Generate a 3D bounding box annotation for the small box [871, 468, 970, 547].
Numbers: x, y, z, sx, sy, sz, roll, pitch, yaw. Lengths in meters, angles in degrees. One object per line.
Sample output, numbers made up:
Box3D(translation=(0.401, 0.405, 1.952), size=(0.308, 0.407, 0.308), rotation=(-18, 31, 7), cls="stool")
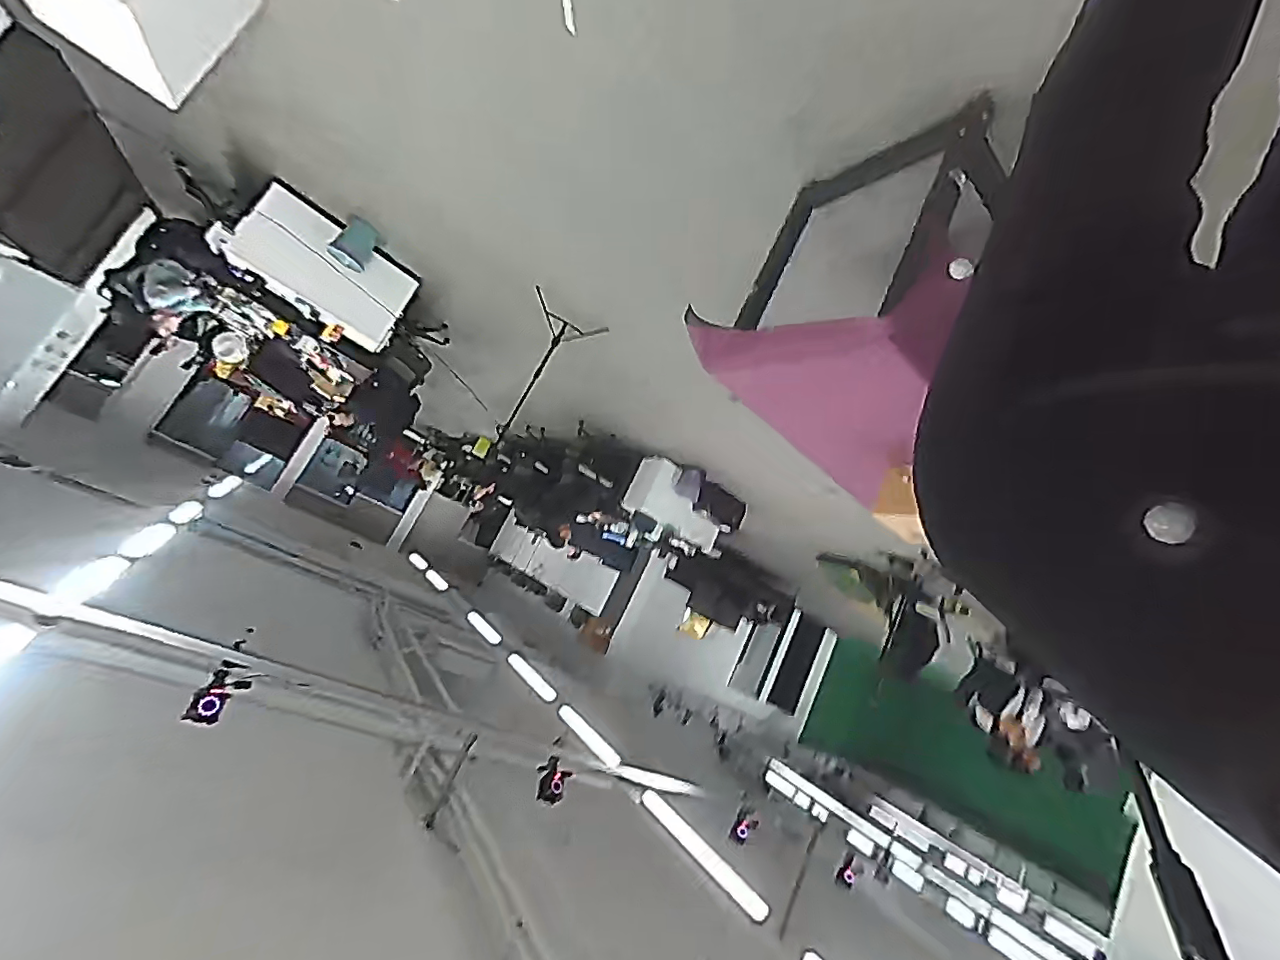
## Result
Box3D(translation=(0.830, 0.078, 1.593), size=(0.179, 0.176, 0.168), rotation=(32, 167, -19), cls="small box")
